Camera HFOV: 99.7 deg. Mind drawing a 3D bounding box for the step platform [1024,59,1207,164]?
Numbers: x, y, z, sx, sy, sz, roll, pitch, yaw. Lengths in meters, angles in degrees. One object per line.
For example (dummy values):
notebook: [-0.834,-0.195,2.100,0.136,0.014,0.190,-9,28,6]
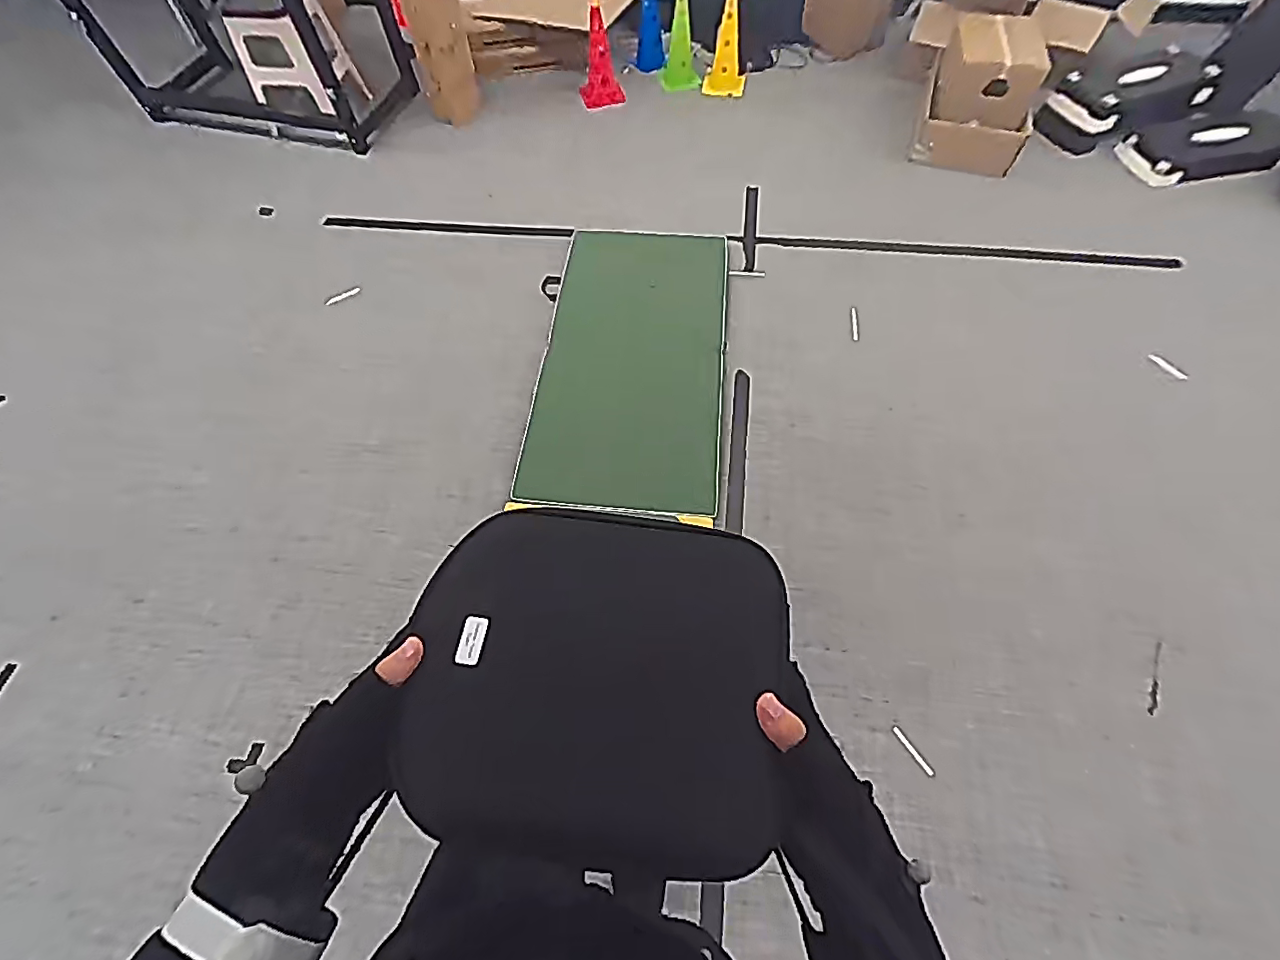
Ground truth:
step platform: [2.102,-1.637,2.394,0.684,0.204,0.286,-21,63,-9]
